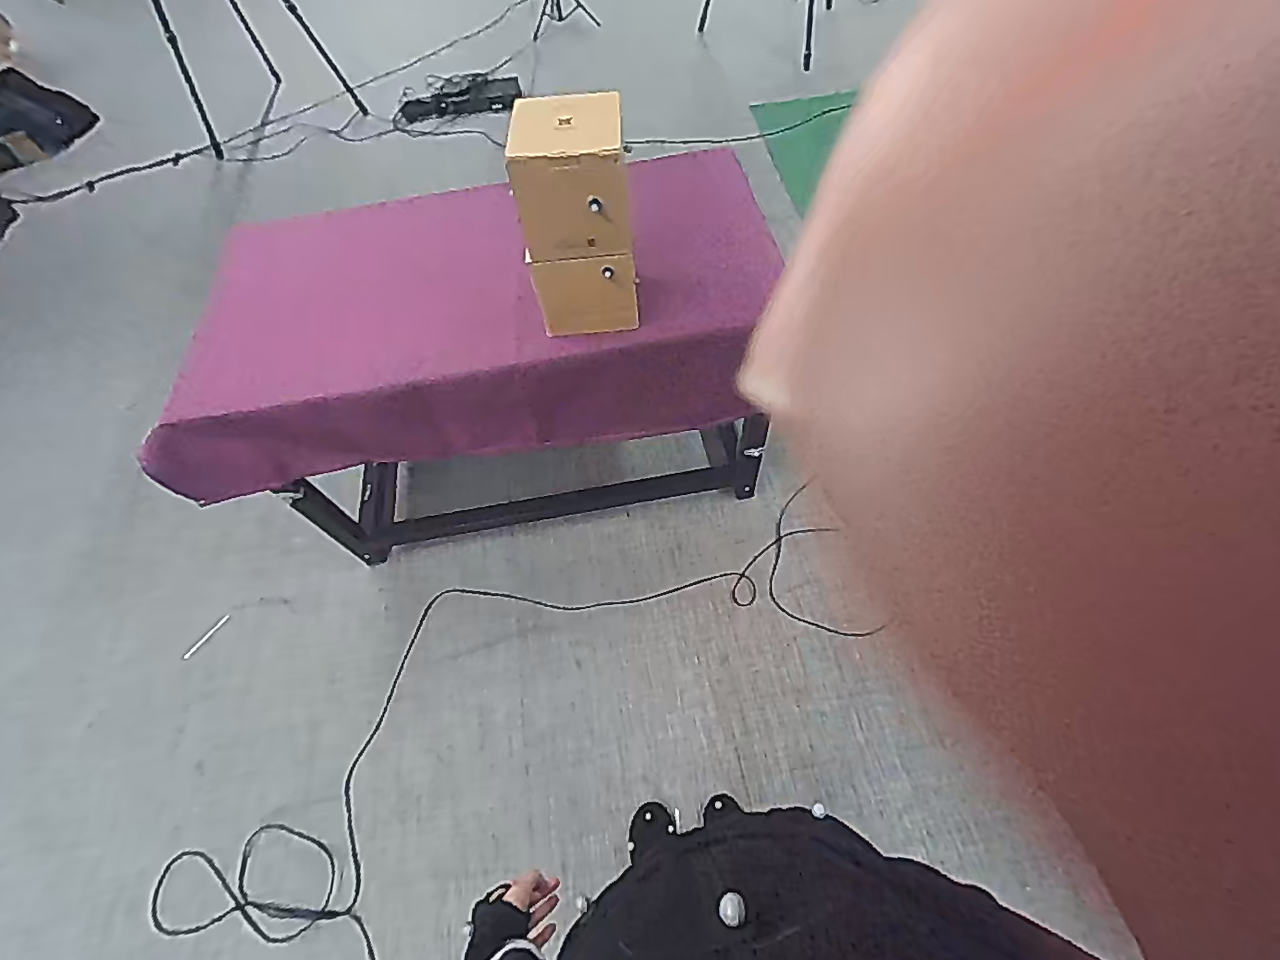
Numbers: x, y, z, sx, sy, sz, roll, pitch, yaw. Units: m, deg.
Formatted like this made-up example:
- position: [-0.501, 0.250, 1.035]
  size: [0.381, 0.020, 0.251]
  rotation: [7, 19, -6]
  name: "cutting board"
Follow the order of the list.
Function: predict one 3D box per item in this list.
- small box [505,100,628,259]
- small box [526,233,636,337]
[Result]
- position: [-0.108, -0.477, 0.876]
  size: [0.168, 0.176, 0.179]
  rotation: [-3, 57, 2]
  name: "small box"
- position: [-0.103, -0.386, 1.011]
  size: [0.179, 0.176, 0.168]
  rotation: [-5, 57, 1]
  name: "small box"
